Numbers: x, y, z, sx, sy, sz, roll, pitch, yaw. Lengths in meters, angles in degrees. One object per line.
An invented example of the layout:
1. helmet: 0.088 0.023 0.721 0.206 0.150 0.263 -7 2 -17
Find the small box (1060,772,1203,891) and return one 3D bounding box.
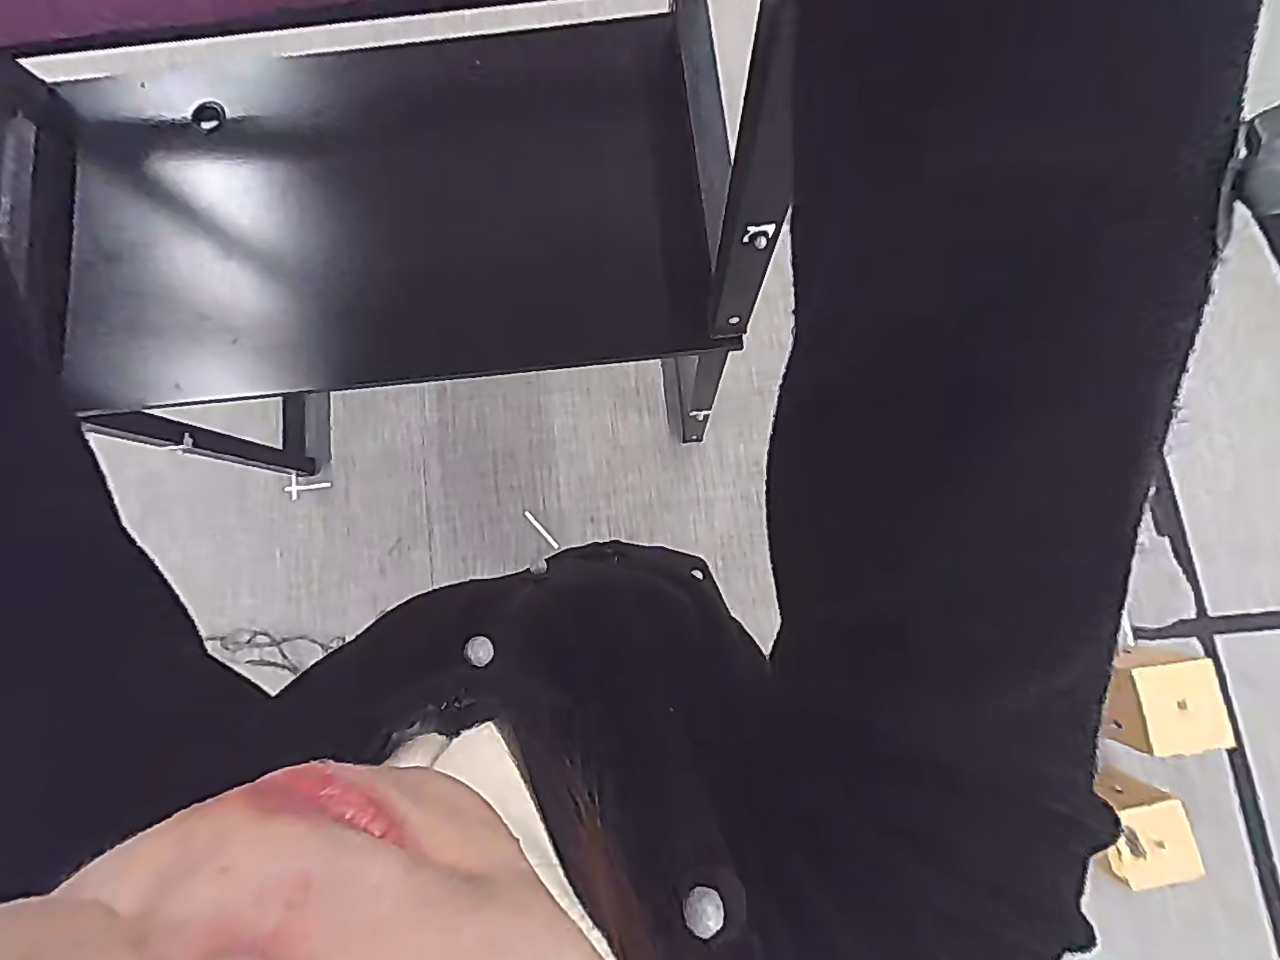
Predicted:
1. small box: 1.153 0.829 1.291 0.179 0.176 0.168 -13 82 0

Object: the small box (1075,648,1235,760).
1. small box: 1.101 0.477 1.173 0.168 0.176 0.179 -8 82 1
